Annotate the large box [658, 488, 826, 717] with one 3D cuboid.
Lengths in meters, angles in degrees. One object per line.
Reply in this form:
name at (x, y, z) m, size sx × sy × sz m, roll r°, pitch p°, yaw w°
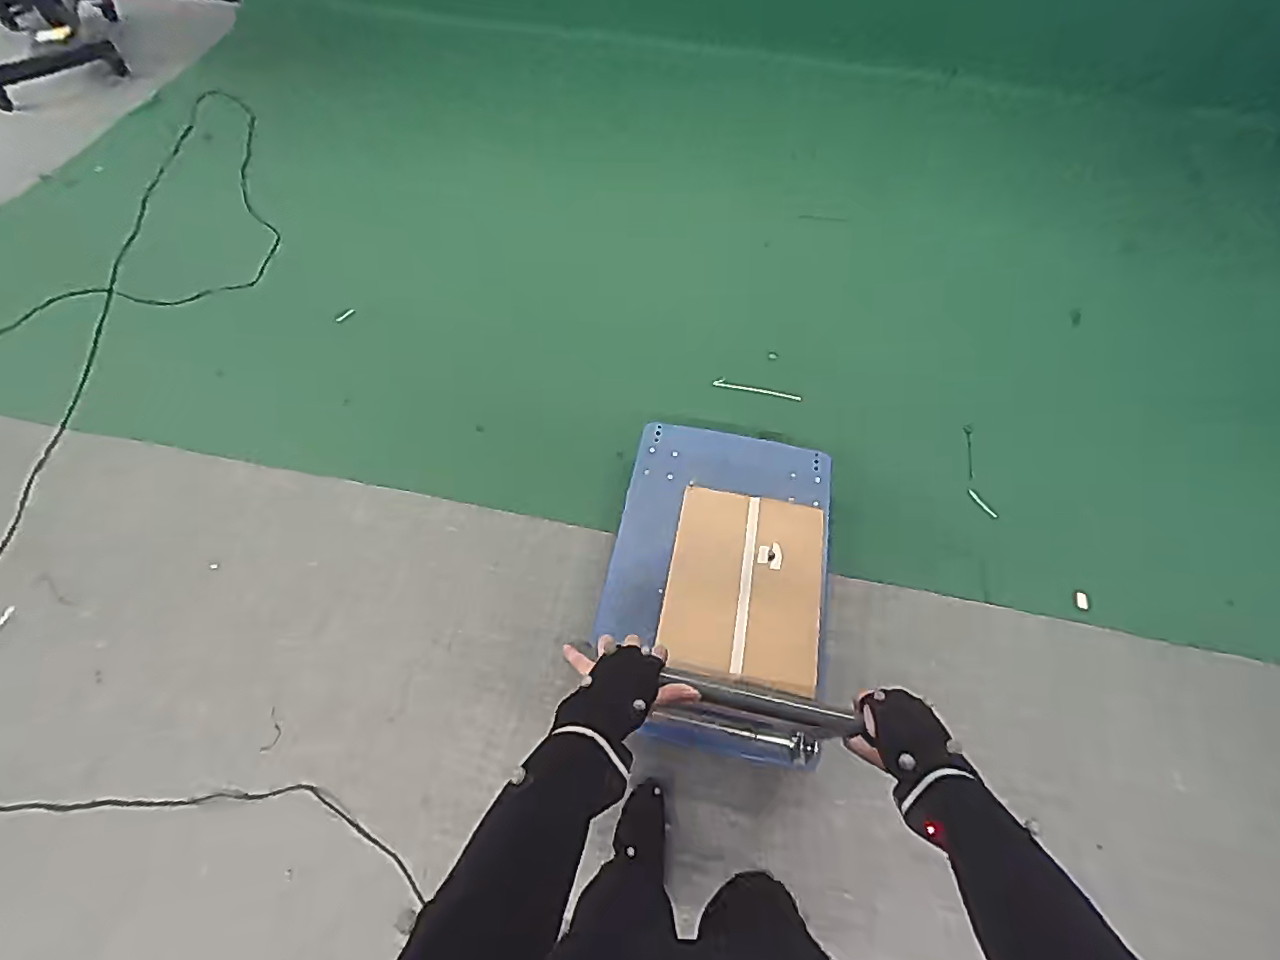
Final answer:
large box at (0.225, 0.285, 1.234) m, size 0.320 × 0.320 × 0.408 m, roll 11°, pitch 60°, yaw 5°
